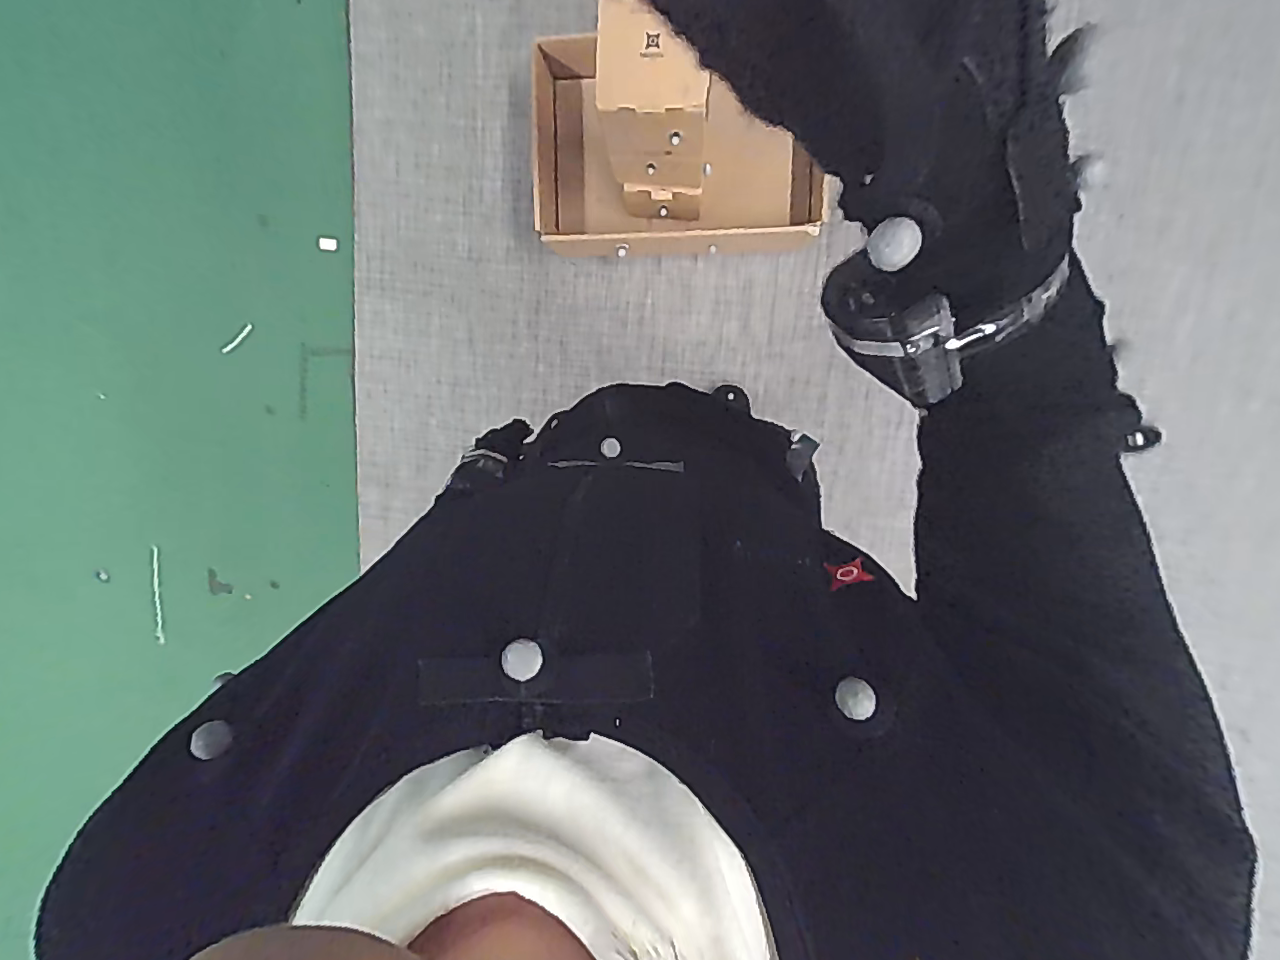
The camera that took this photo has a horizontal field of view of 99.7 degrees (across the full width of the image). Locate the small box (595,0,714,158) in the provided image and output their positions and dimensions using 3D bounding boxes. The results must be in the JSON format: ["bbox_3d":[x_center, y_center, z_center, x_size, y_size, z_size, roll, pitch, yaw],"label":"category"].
[{"bbox_3d":[0.026,-0.640,0.861,0.168,0.176,0.179,4,97,4],"label":"small box"}]

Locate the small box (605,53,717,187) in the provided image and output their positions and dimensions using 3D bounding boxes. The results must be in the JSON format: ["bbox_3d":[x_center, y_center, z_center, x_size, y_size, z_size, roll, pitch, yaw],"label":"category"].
[{"bbox_3d":[0.043,-0.674,1.018,0.179,0.176,0.168,10,99,5],"label":"small box"}]

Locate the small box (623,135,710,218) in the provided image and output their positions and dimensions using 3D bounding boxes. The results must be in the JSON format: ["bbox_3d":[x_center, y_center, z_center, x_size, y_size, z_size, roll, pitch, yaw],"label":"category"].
[{"bbox_3d":[0.062,-0.689,1.181,0.168,0.176,0.179,7,100,4],"label":"small box"}]
